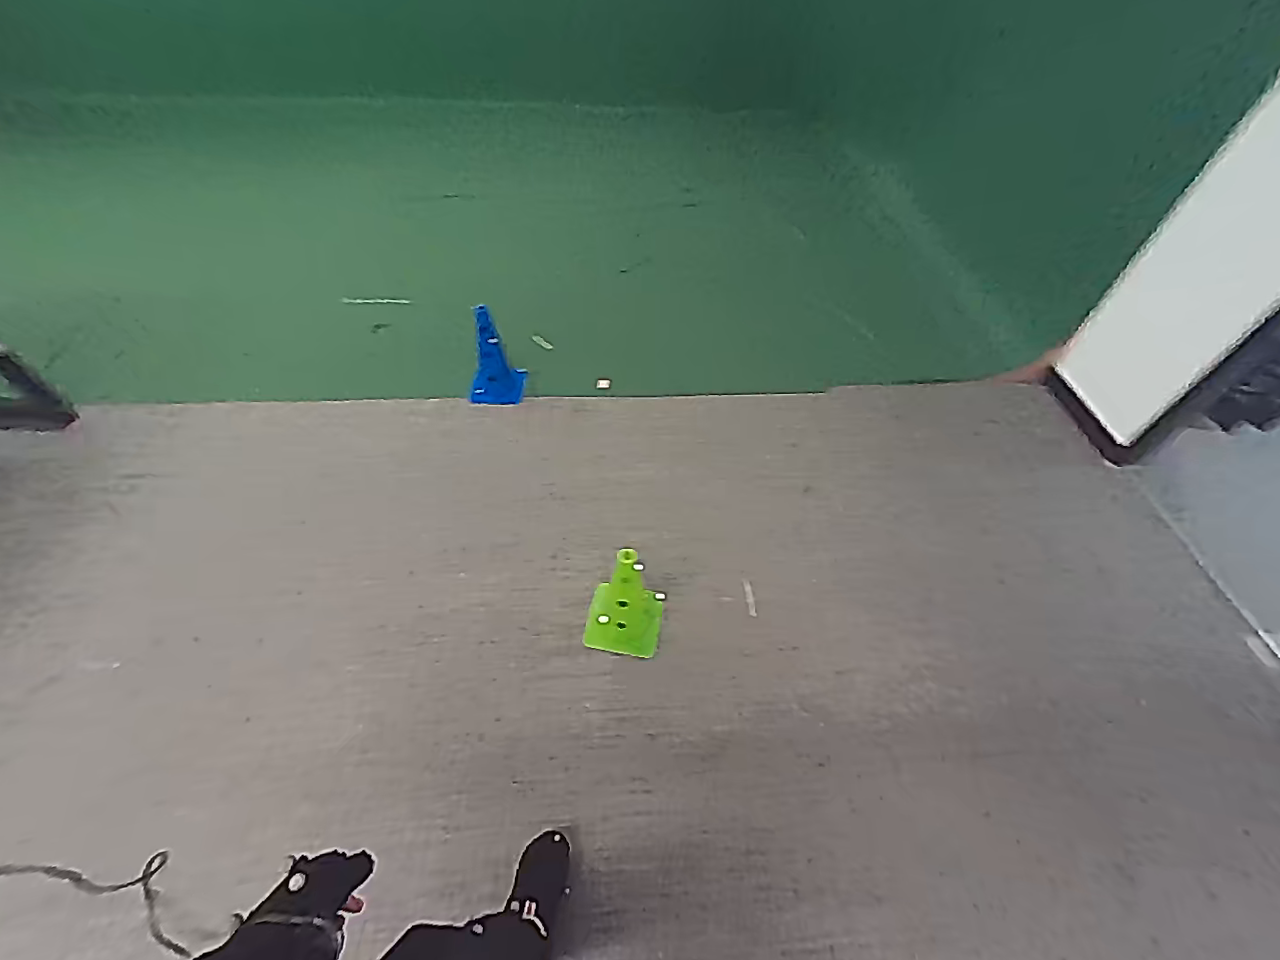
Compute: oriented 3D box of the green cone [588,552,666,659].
[{"bbox_3d":[-0.031,0.294,1.413,0.200,0.368,0.202,8,51,5],"label":"green cone"}]
